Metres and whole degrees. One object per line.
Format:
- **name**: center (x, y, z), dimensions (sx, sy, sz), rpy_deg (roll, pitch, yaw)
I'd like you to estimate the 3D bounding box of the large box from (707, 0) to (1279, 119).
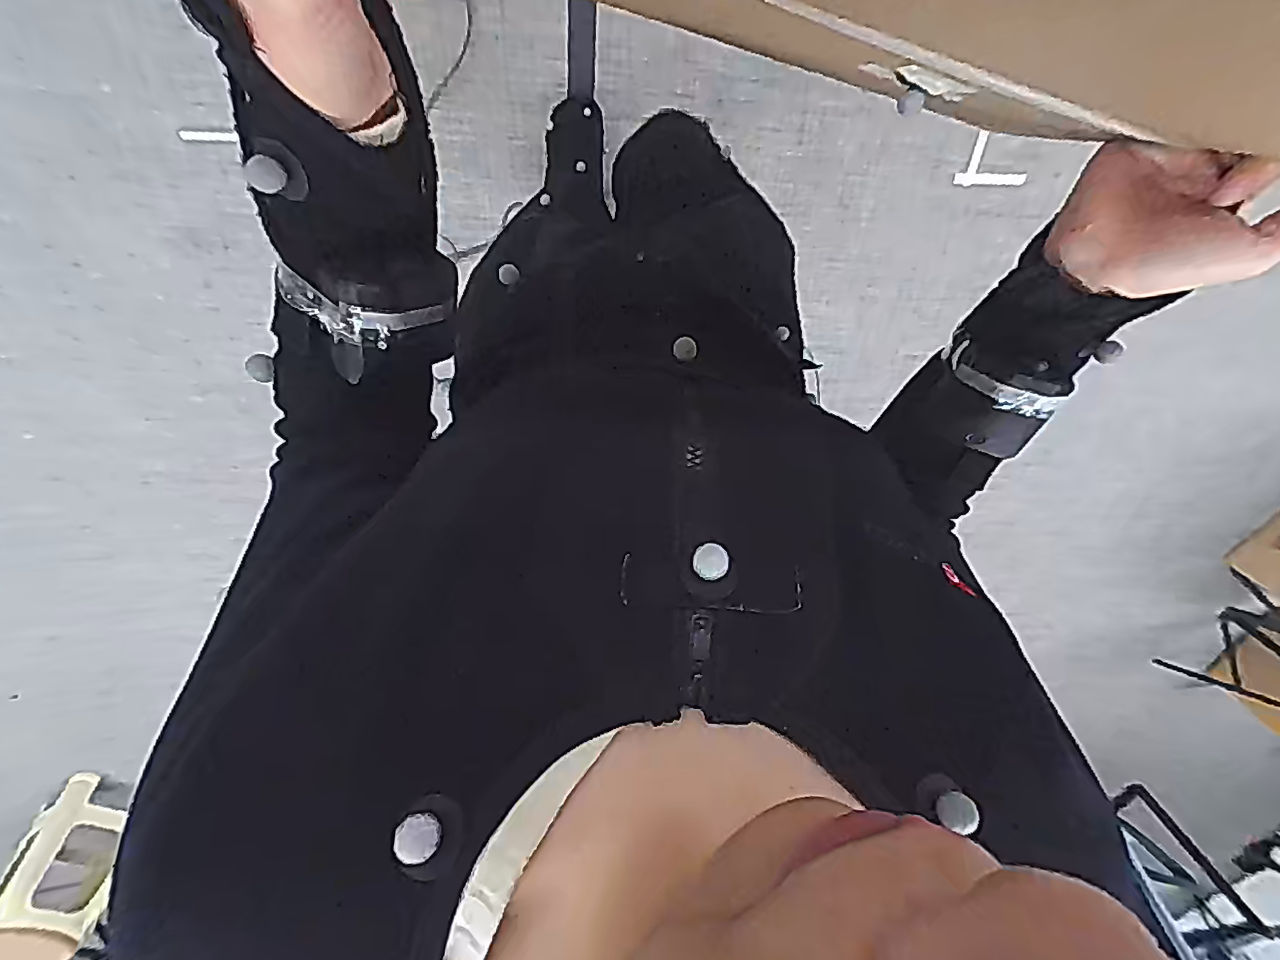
- **large box**: center (0.118, -0.315, 0.119), dimensions (0.408, 0.320, 0.320), rpy_deg (4, 125, -15)
